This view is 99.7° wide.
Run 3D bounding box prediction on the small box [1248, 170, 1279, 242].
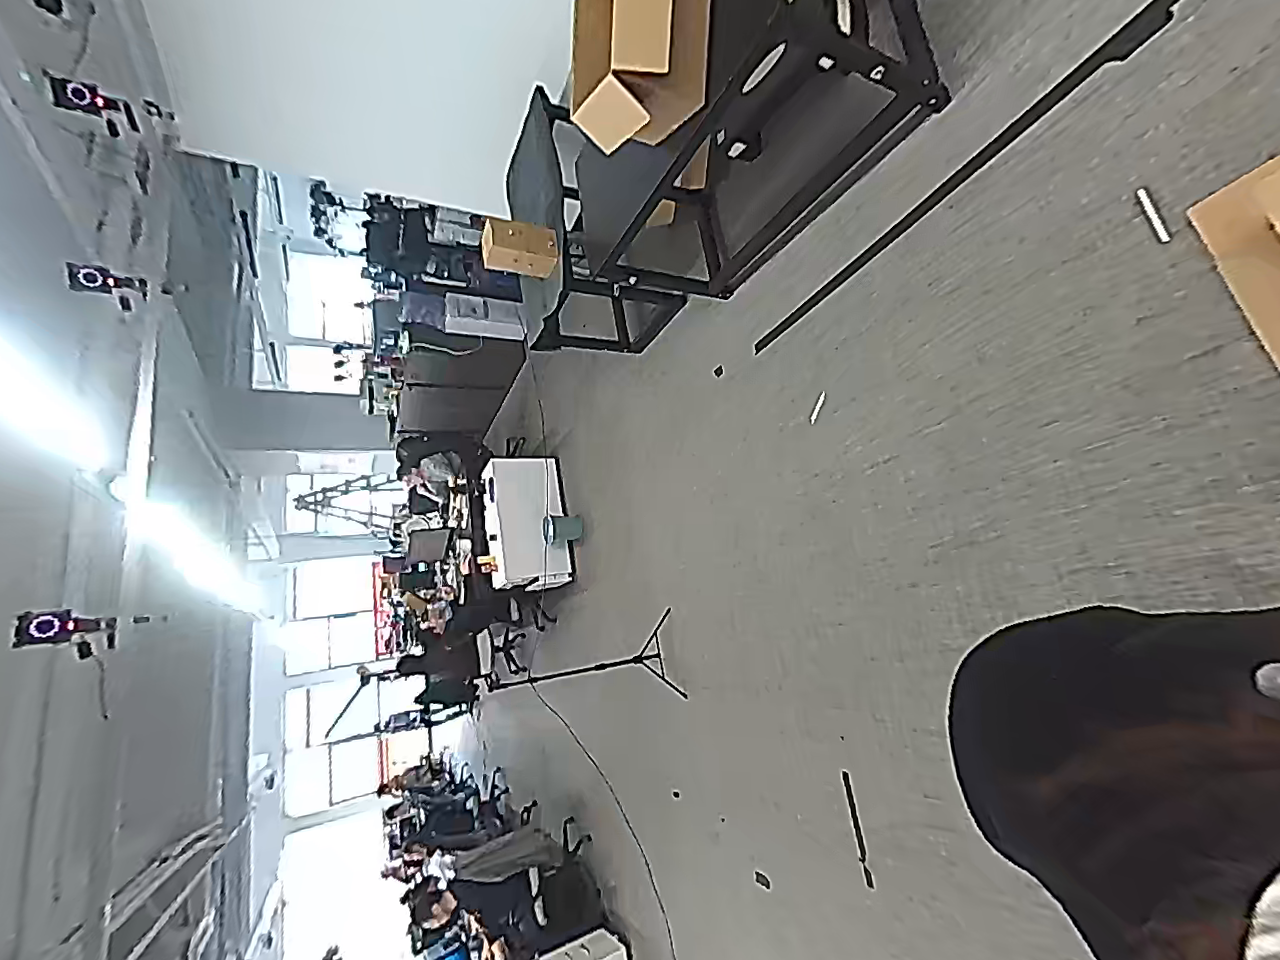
[{"bbox_3d":[1.270,-0.499,0.971,0.168,0.176,0.179,-39,58,56],"label":"small box"}]
